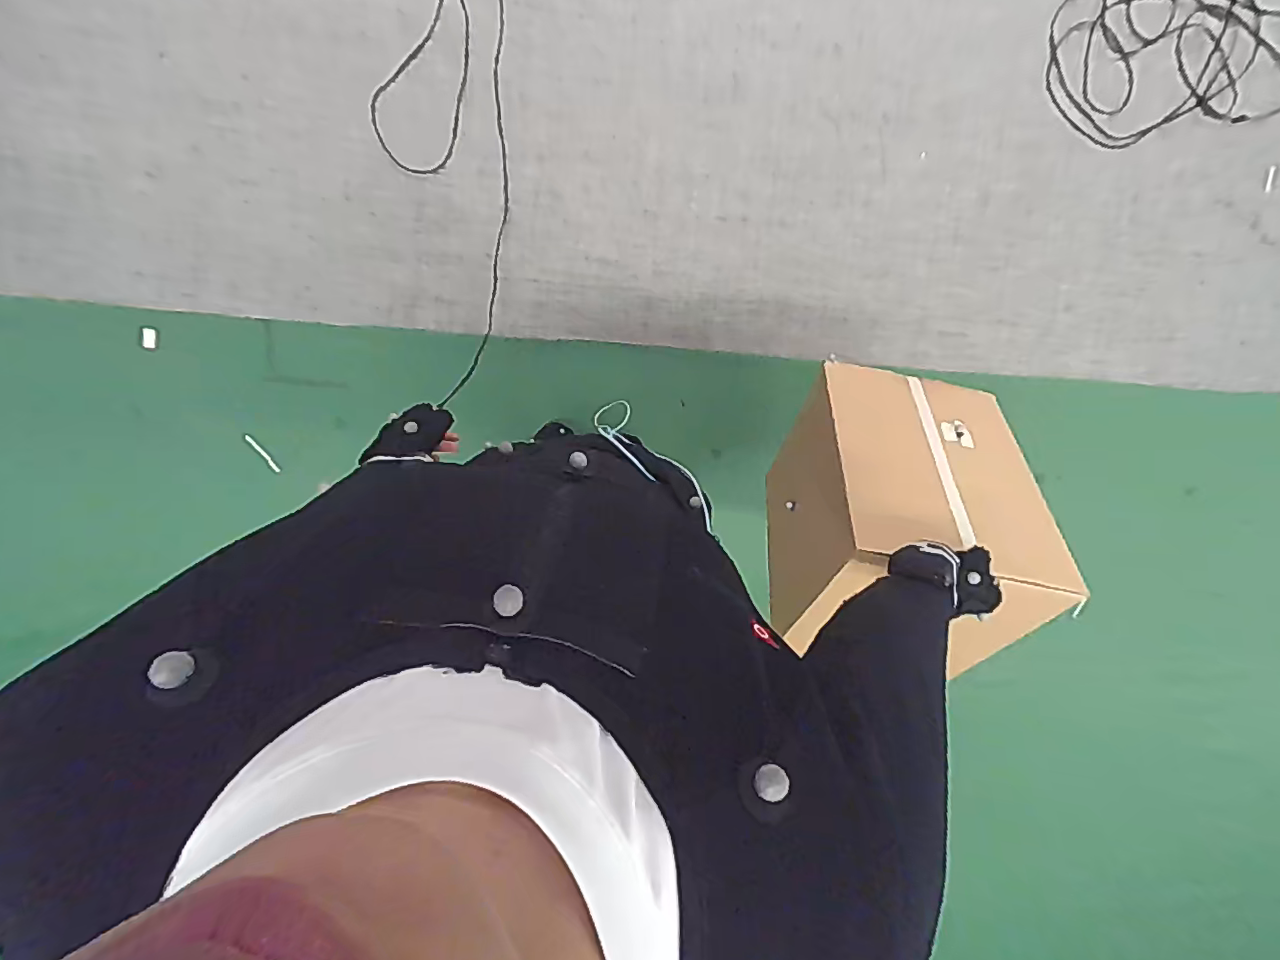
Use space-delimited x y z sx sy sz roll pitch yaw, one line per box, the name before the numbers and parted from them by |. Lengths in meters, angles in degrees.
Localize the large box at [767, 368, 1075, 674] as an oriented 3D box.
large box | 0.424 0.071 0.945 0.320 0.408 0.320 12 138 -3
